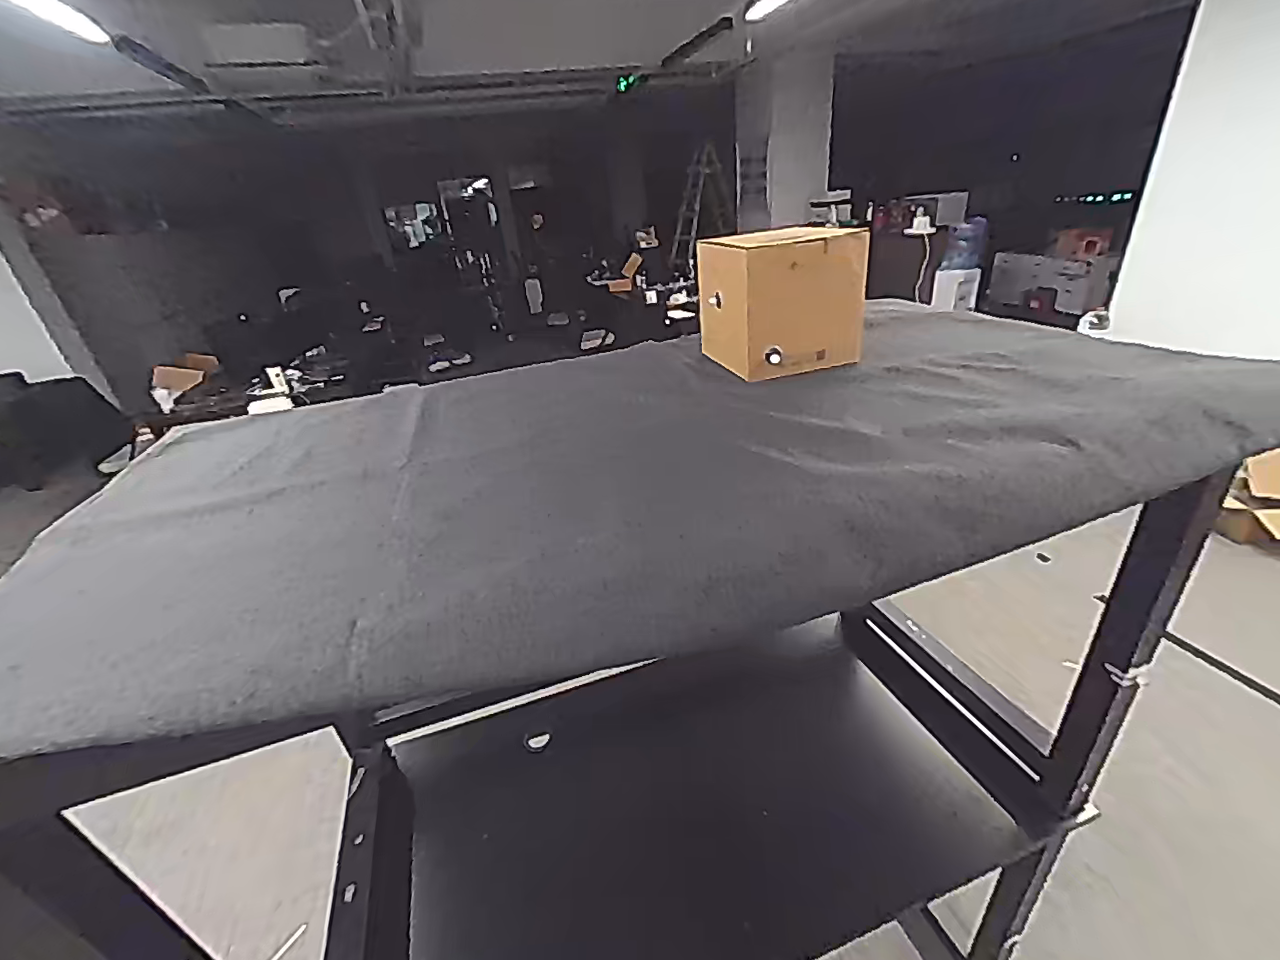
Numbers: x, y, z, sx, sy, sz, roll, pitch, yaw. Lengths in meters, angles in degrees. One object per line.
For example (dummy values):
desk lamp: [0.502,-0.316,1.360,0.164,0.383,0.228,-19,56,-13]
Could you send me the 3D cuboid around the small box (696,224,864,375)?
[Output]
small box: [0.189,-0.254,0.759,0.168,0.176,0.179,-13,28,-11]
